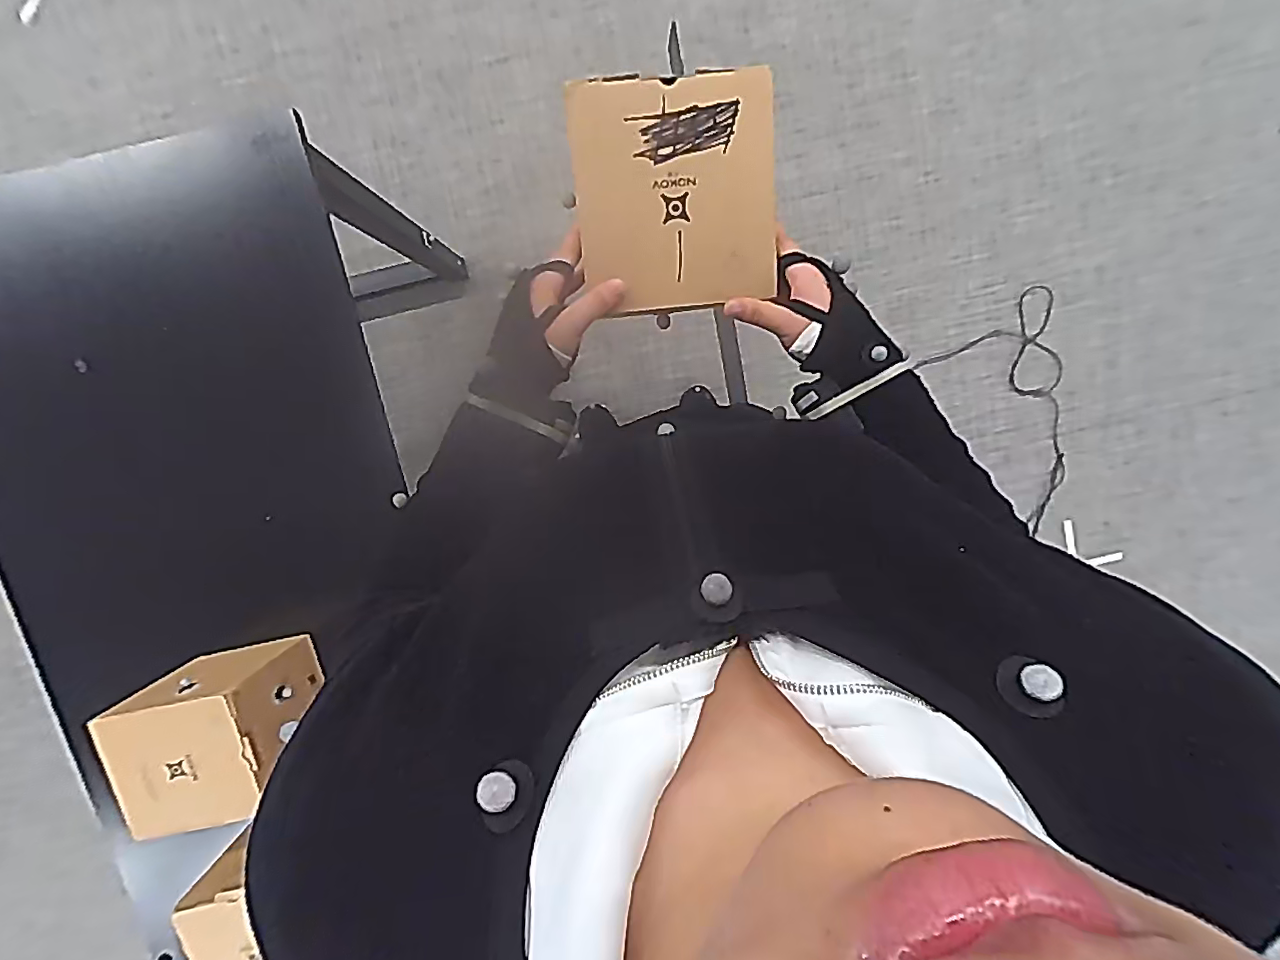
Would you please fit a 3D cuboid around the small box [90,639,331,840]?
[{"bbox_3d":[-0.550,0.333,0.727,0.179,0.176,0.168,-13,98,2],"label":"small box"}]

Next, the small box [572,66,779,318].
[{"bbox_3d":[0.027,-0.255,0.518,0.168,0.176,0.179,-6,106,-2],"label":"small box"}]
